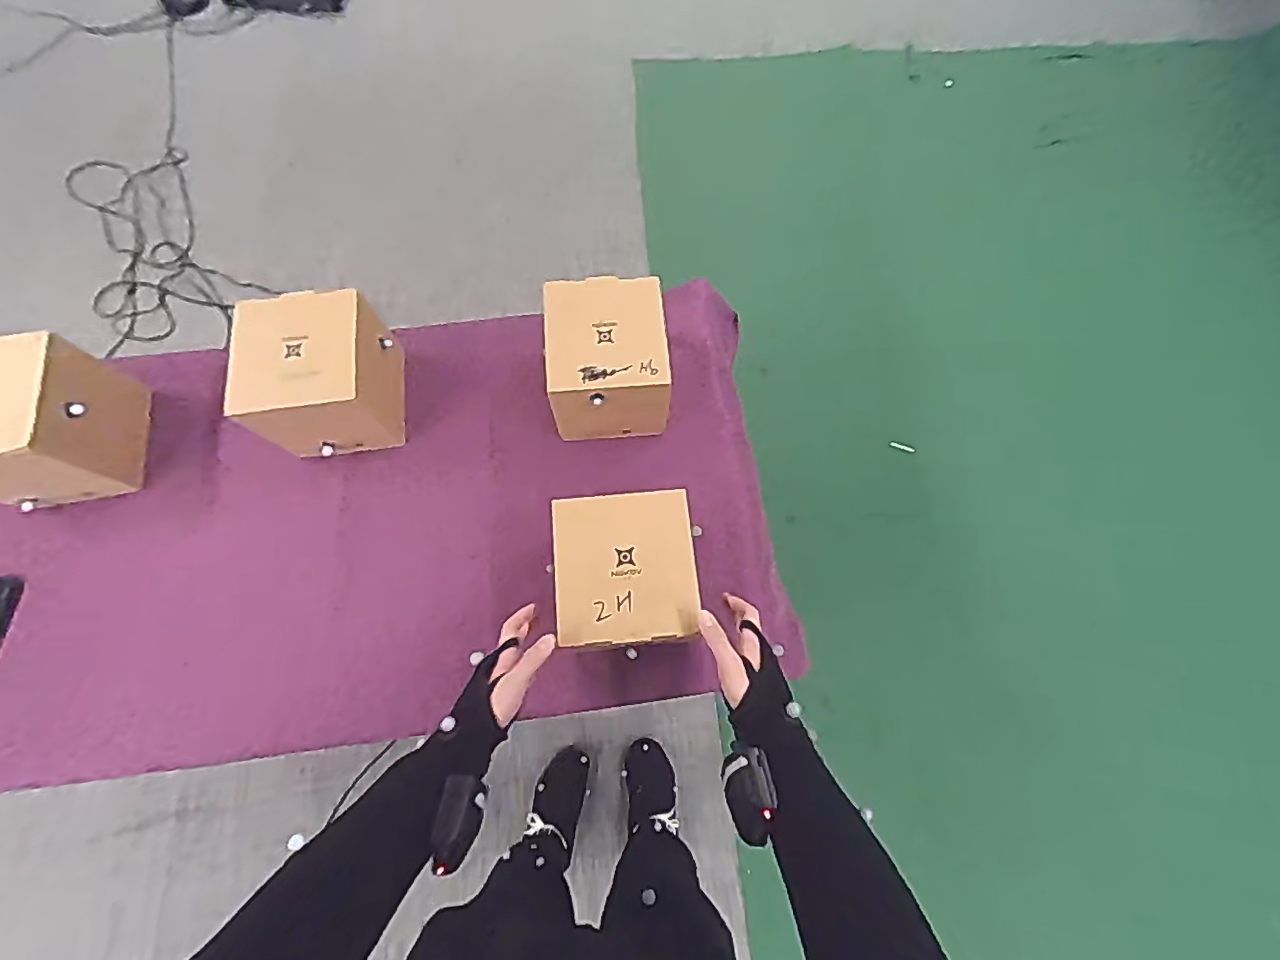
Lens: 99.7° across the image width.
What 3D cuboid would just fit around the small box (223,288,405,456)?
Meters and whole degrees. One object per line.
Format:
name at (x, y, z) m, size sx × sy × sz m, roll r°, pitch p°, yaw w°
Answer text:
small box at (-0.459, -0.151, 0.791) m, size 0.168 × 0.176 × 0.179 m, roll -7°, pitch 72°, yaw -4°

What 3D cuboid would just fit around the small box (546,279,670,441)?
small box at (-0.049, -0.175, 0.812) m, size 0.168 × 0.176 × 0.179 m, roll -4°, pitch 71°, yaw -3°

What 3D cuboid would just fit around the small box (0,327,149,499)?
small box at (-0.839, -0.082, 0.752) m, size 0.168 × 0.176 × 0.179 m, roll -10°, pitch 71°, yaw -6°

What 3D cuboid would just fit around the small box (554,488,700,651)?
small box at (-0.021, 0.123, 0.705) m, size 0.168 × 0.176 × 0.179 m, roll -4°, pitch 71°, yaw -2°
